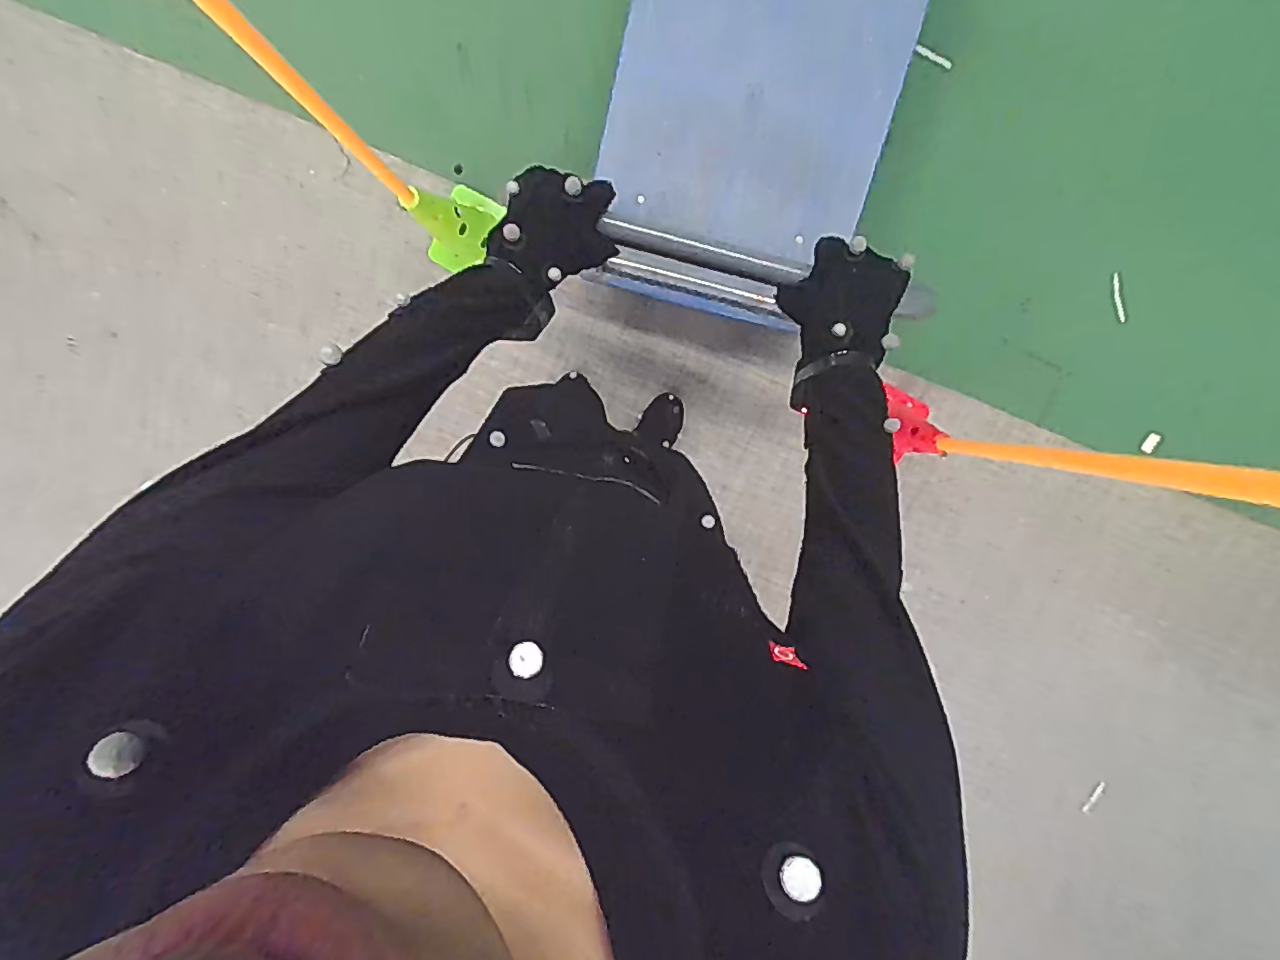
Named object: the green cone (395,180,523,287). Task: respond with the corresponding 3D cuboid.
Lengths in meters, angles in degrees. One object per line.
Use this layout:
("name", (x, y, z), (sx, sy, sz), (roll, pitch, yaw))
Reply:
("green cone", (-0.432, -0.589, 1.209), (0.202, 0.368, 0.200), (27, 102, -1))
